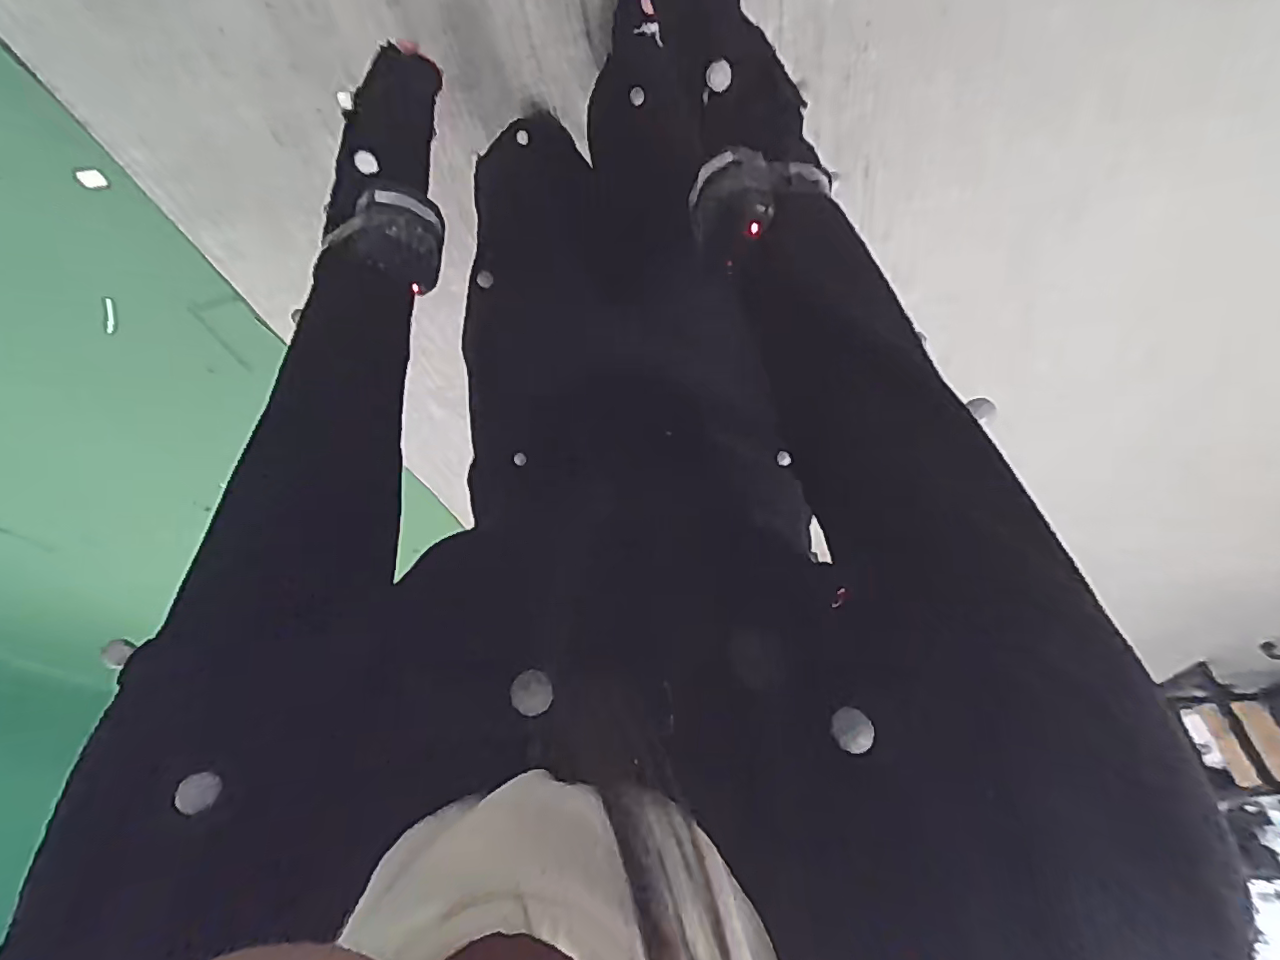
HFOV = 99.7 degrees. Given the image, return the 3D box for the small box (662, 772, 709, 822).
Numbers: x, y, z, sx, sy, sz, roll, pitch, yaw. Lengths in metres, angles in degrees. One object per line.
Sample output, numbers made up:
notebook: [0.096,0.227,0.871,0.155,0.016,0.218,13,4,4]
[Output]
small box: [0.194,1.371,2.335,0.179,0.176,0.168,-10,145,11]
